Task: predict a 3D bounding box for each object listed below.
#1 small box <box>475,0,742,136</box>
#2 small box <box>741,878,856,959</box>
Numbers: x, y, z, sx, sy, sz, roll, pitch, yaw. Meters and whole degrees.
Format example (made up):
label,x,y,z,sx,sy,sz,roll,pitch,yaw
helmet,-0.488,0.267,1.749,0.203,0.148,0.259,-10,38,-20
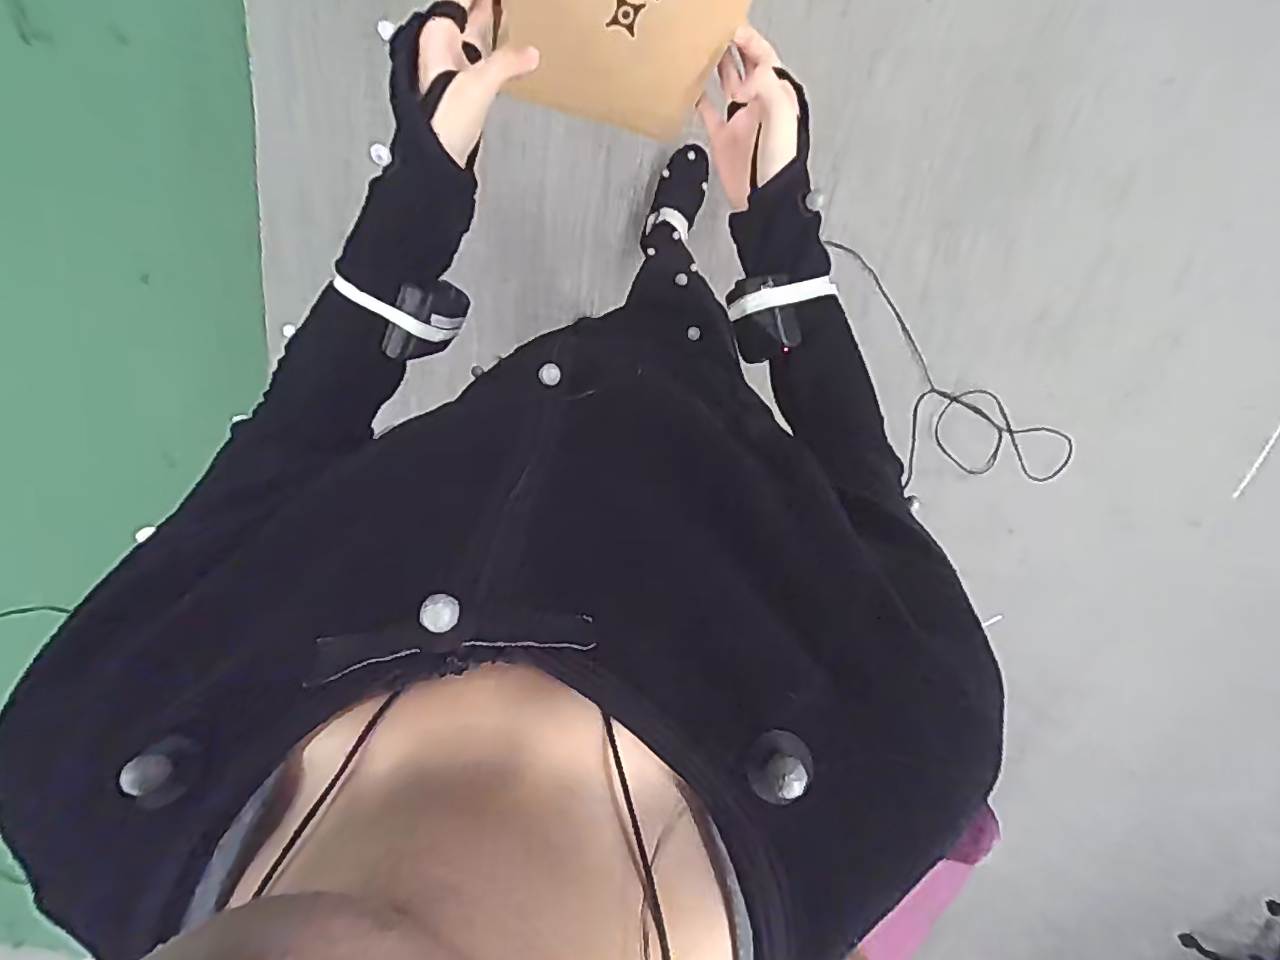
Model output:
label,x,y,z,sx,sy,sz,roll,pitch,yaw
small box,-0.024,-0.410,0.396,0.168,0.176,0.179,-1,159,-27
small box,0.300,0.916,1.055,0.168,0.176,0.179,5,113,-1
